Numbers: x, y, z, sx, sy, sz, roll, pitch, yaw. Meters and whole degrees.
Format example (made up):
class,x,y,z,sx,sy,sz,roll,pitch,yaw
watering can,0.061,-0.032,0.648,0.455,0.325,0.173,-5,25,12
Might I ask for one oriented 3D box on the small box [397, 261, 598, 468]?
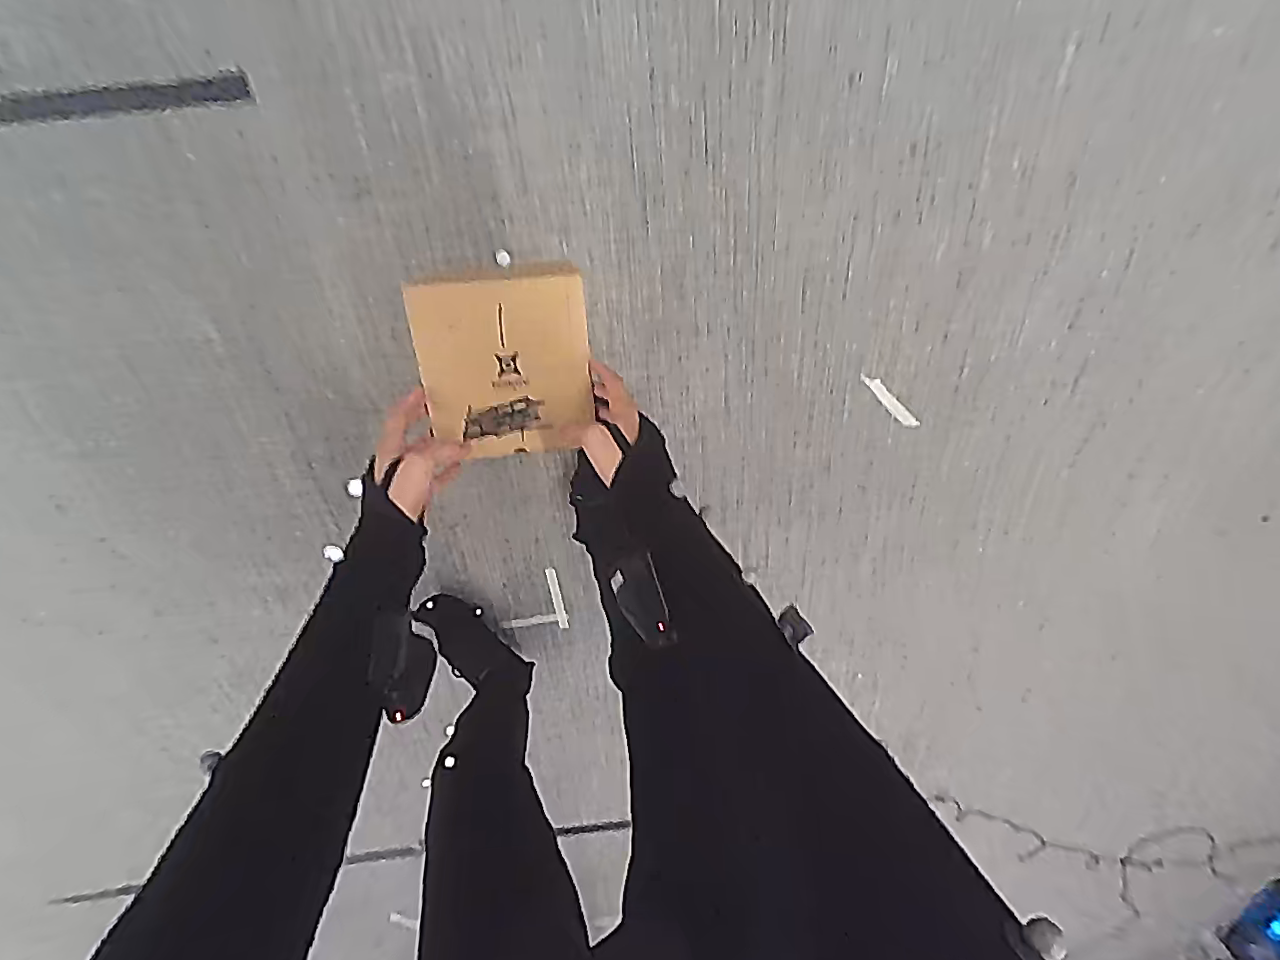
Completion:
class,x,y,z,sx,sy,sz,roll,pitch,yaw
small box,-0.140,-0.133,0.582,0.168,0.176,0.179,-8,116,-9
